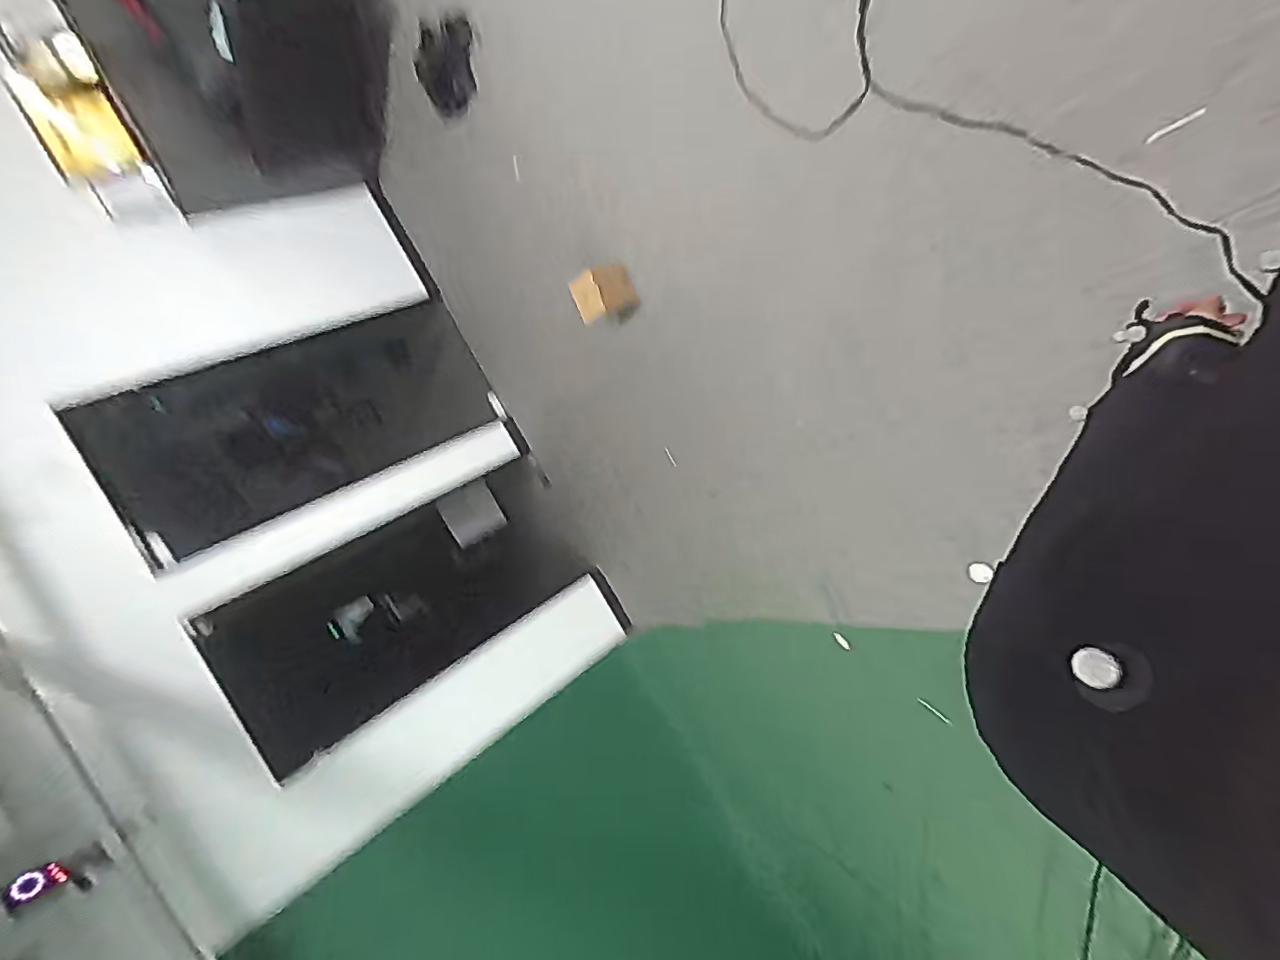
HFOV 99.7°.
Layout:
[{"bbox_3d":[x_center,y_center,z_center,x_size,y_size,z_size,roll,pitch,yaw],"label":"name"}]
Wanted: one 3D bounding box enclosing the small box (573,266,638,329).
[{"bbox_3d":[-0.129,-0.720,2.132,0.179,0.176,0.168,-7,109,59],"label":"small box"}]
